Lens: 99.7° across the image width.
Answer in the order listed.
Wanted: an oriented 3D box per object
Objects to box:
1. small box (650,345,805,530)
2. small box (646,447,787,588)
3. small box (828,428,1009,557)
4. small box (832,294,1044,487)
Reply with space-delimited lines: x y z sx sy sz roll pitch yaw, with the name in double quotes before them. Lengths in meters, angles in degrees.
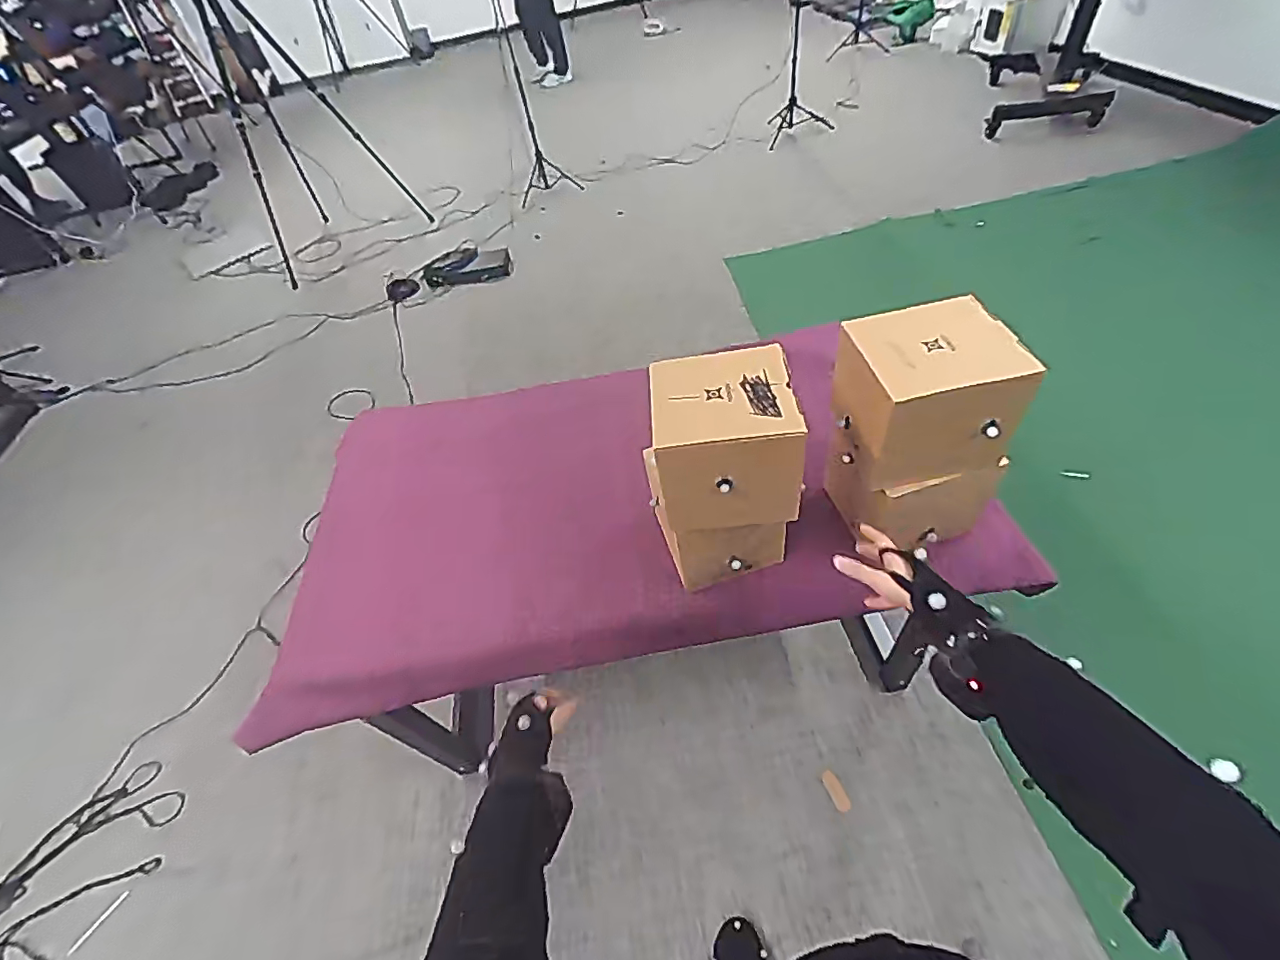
"small box" 0.111 -0.051 0.718 0.179 0.176 0.168 -7 48 7
"small box" 0.118 0.041 0.857 0.168 0.176 0.179 -18 49 -3
"small box" 0.411 -0.006 0.836 0.179 0.176 0.168 -16 49 0
"small box" 0.372 -0.114 0.717 0.179 0.176 0.168 -12 49 4
